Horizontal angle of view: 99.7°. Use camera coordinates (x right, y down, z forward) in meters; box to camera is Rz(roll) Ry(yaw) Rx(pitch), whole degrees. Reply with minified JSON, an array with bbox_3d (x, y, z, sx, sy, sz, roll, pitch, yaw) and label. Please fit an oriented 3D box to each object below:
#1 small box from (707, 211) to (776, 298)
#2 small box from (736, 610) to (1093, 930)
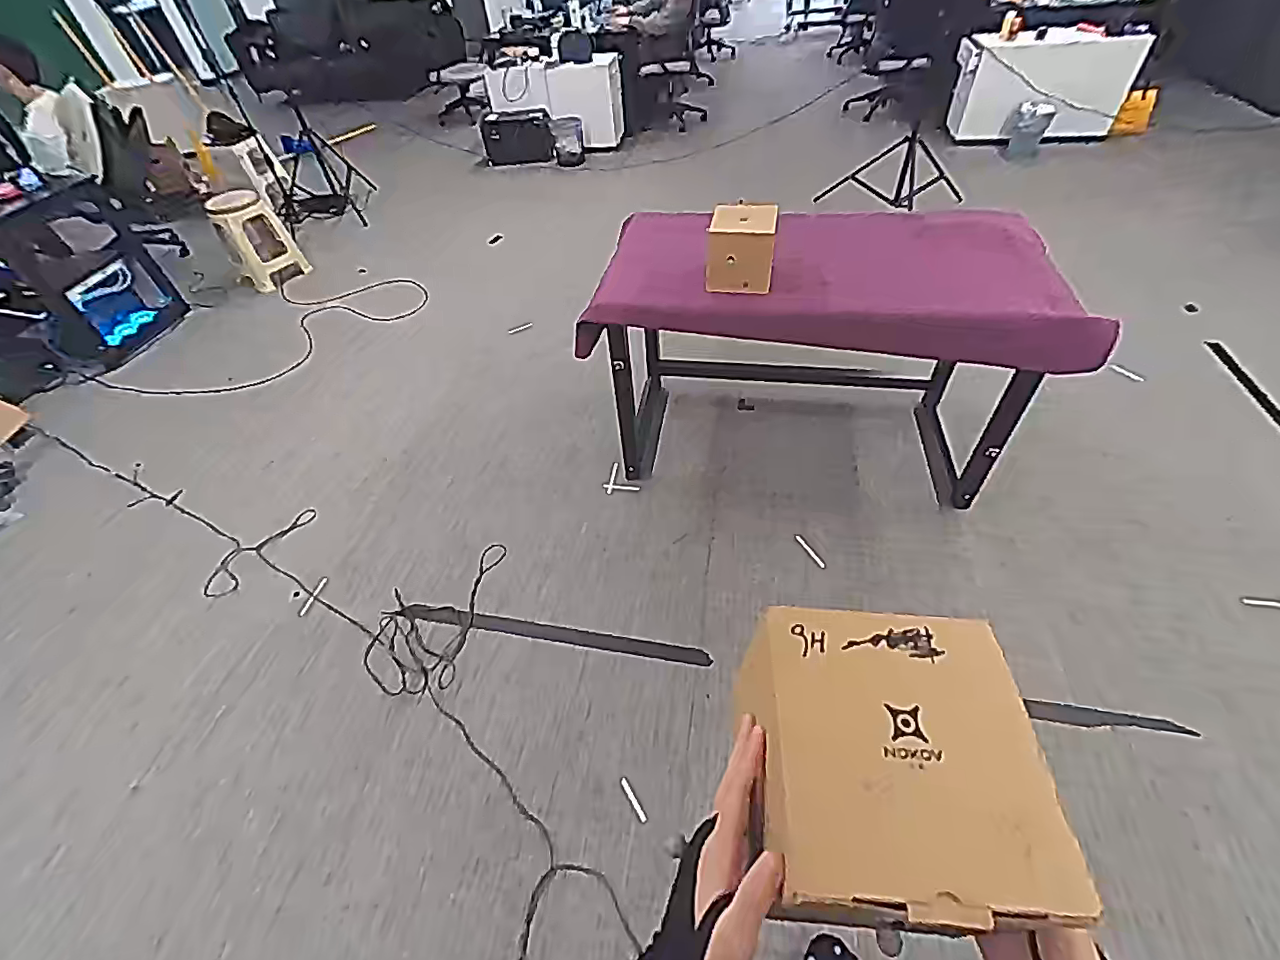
[{"bbox_3d":[0.276,-0.612,1.471,0.168,0.176,0.179,6,47,11],"label":"small box"},{"bbox_3d":[0.169,0.220,0.408,0.168,0.176,0.179,4,49,1],"label":"small box"}]
